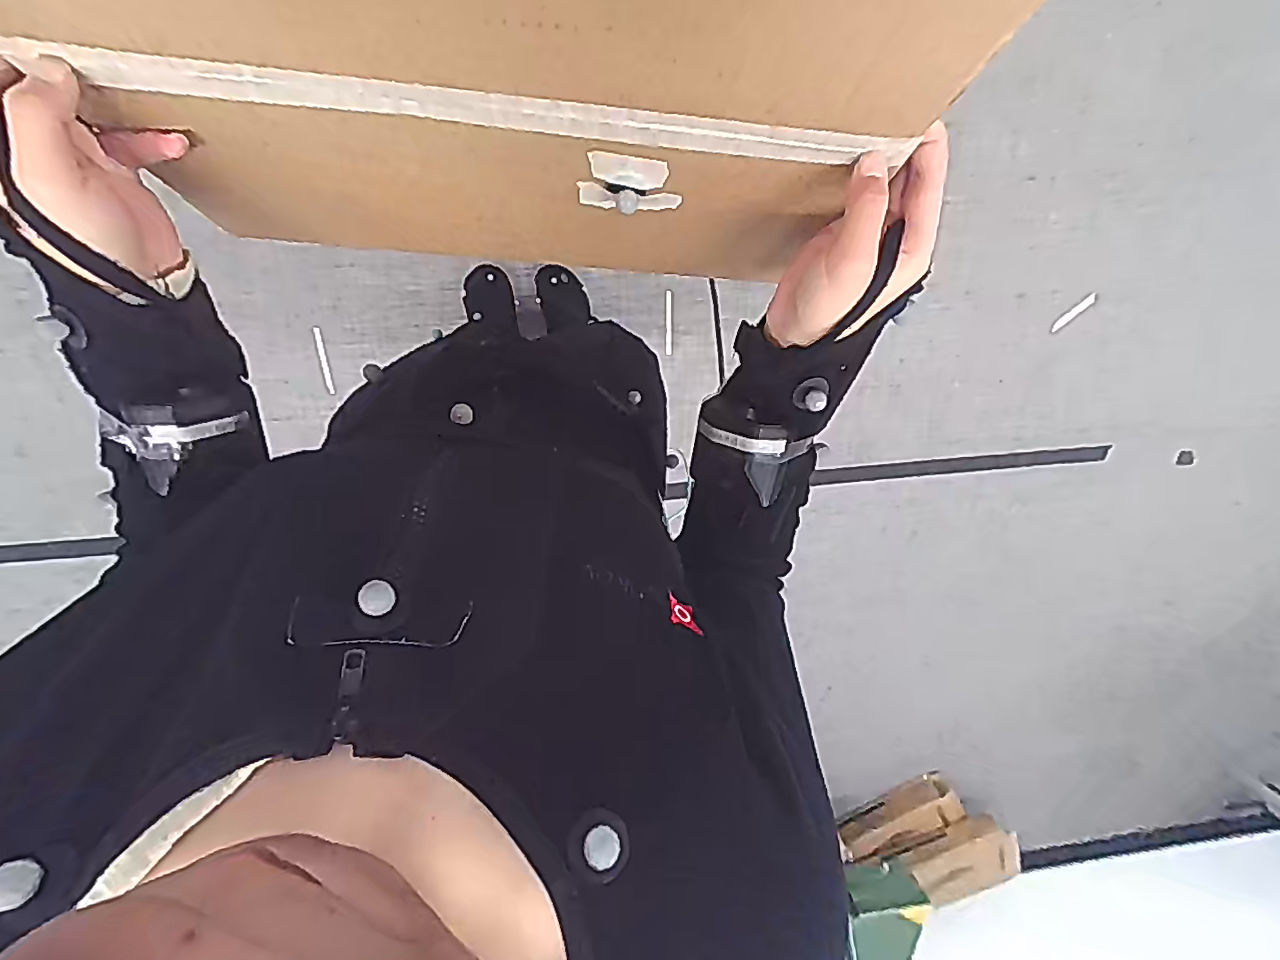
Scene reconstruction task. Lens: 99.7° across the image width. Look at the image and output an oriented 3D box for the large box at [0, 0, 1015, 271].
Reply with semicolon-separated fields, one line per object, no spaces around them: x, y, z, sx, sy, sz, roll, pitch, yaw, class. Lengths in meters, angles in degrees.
-0.064;-0.328;0.260;0.408;0.320;0.320;2;87;-5;large box
